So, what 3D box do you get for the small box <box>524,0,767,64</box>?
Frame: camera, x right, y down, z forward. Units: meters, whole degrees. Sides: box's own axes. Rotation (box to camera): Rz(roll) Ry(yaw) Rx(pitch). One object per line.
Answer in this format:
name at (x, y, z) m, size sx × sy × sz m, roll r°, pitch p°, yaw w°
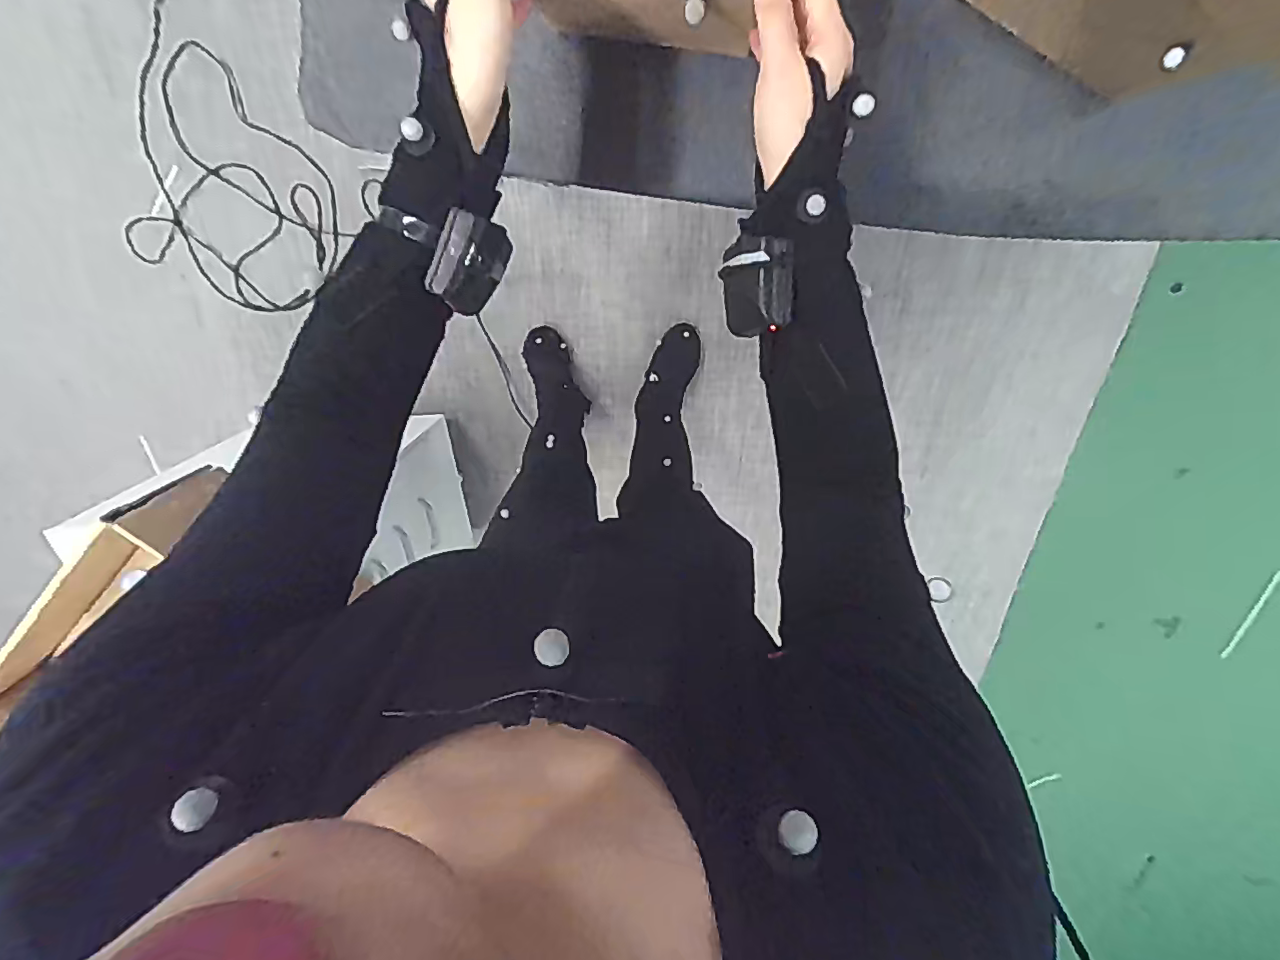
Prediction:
small box at (0.011, -0.410, 0.367) m, size 0.179 × 0.176 × 0.168 m, roll 9°, pitch 114°, yaw 2°
